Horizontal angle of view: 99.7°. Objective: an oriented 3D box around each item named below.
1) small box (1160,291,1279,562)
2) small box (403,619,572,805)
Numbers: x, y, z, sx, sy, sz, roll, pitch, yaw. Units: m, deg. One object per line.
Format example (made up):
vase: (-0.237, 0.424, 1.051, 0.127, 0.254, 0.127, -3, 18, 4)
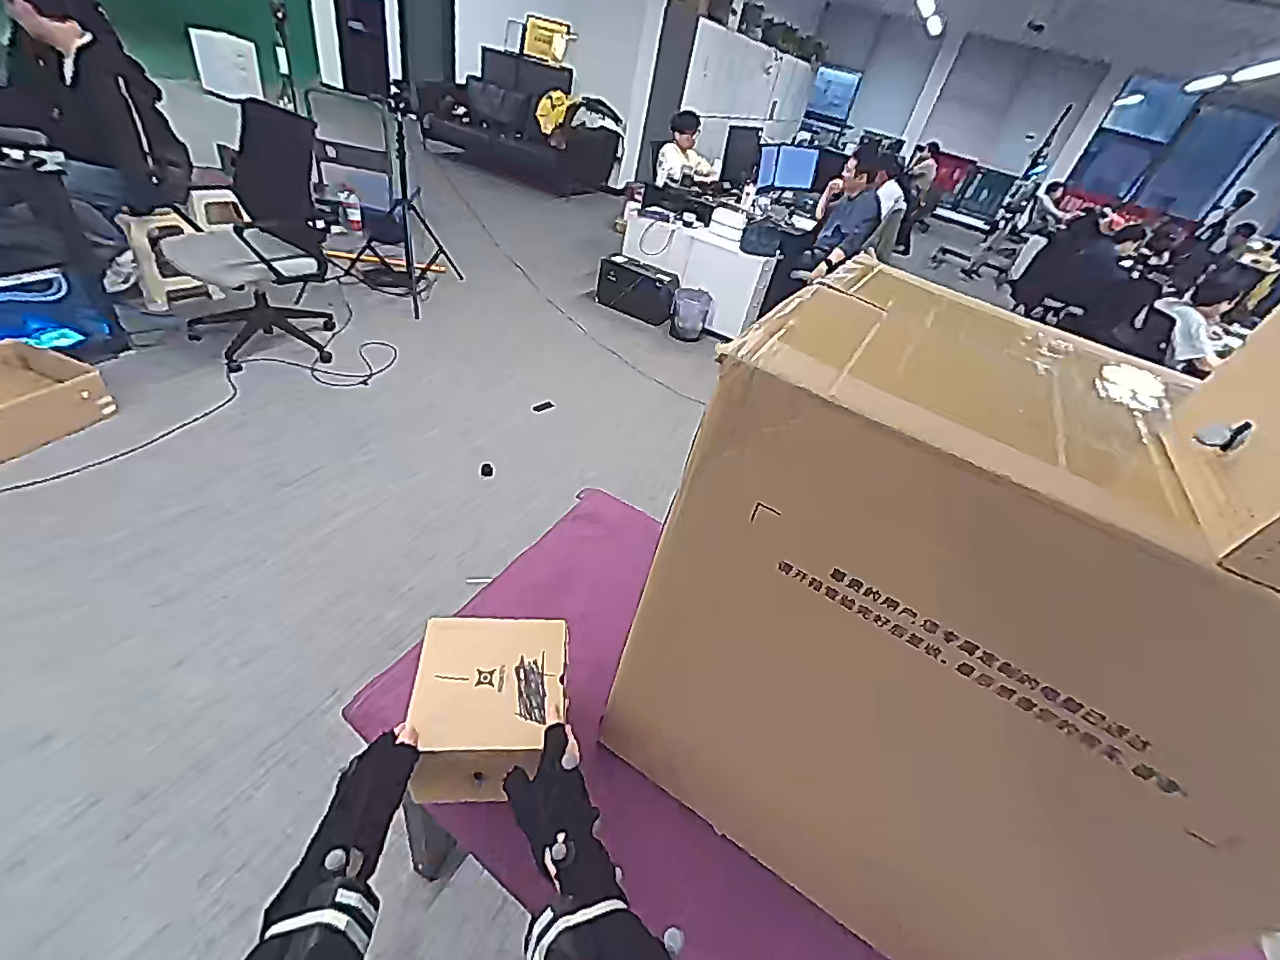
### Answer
small box: (0.442, -0.026, 0.287, 0.168, 0.176, 0.179, 27, 41, 16)
small box: (-0.182, 0.296, 0.690, 0.179, 0.176, 0.168, 3, 41, -10)
